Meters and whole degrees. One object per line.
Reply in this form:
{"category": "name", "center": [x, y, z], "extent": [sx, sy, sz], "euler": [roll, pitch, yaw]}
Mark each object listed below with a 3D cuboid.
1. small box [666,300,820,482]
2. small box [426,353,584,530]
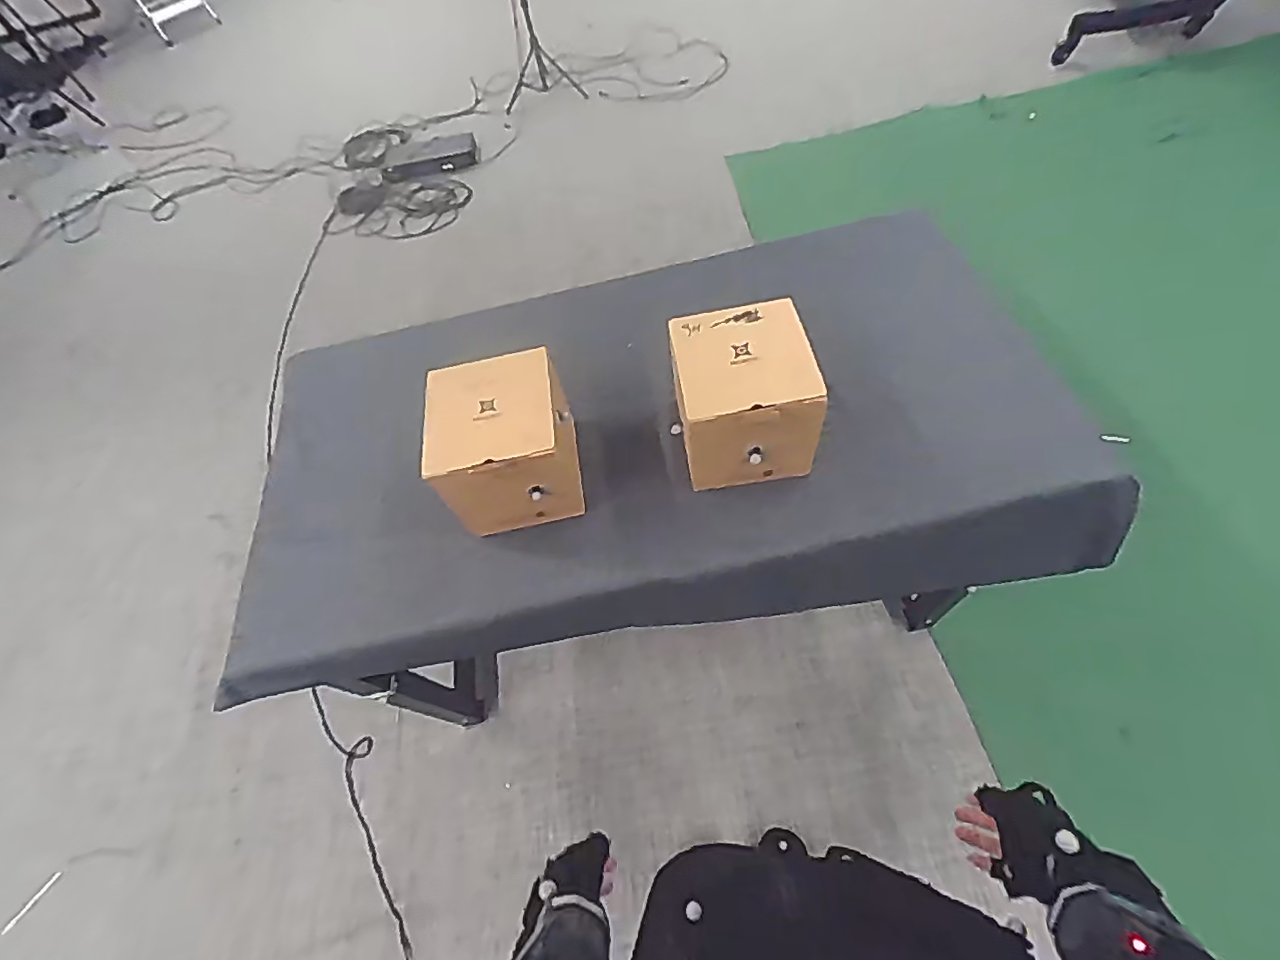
{"category": "small box", "center": [0.135, -0.110, 0.742], "extent": [0.168, 0.176, 0.179], "euler": [-10, 59, 4]}
{"category": "small box", "center": [-0.181, -0.044, 0.761], "extent": [0.168, 0.176, 0.179], "euler": [-12, 57, 1]}
